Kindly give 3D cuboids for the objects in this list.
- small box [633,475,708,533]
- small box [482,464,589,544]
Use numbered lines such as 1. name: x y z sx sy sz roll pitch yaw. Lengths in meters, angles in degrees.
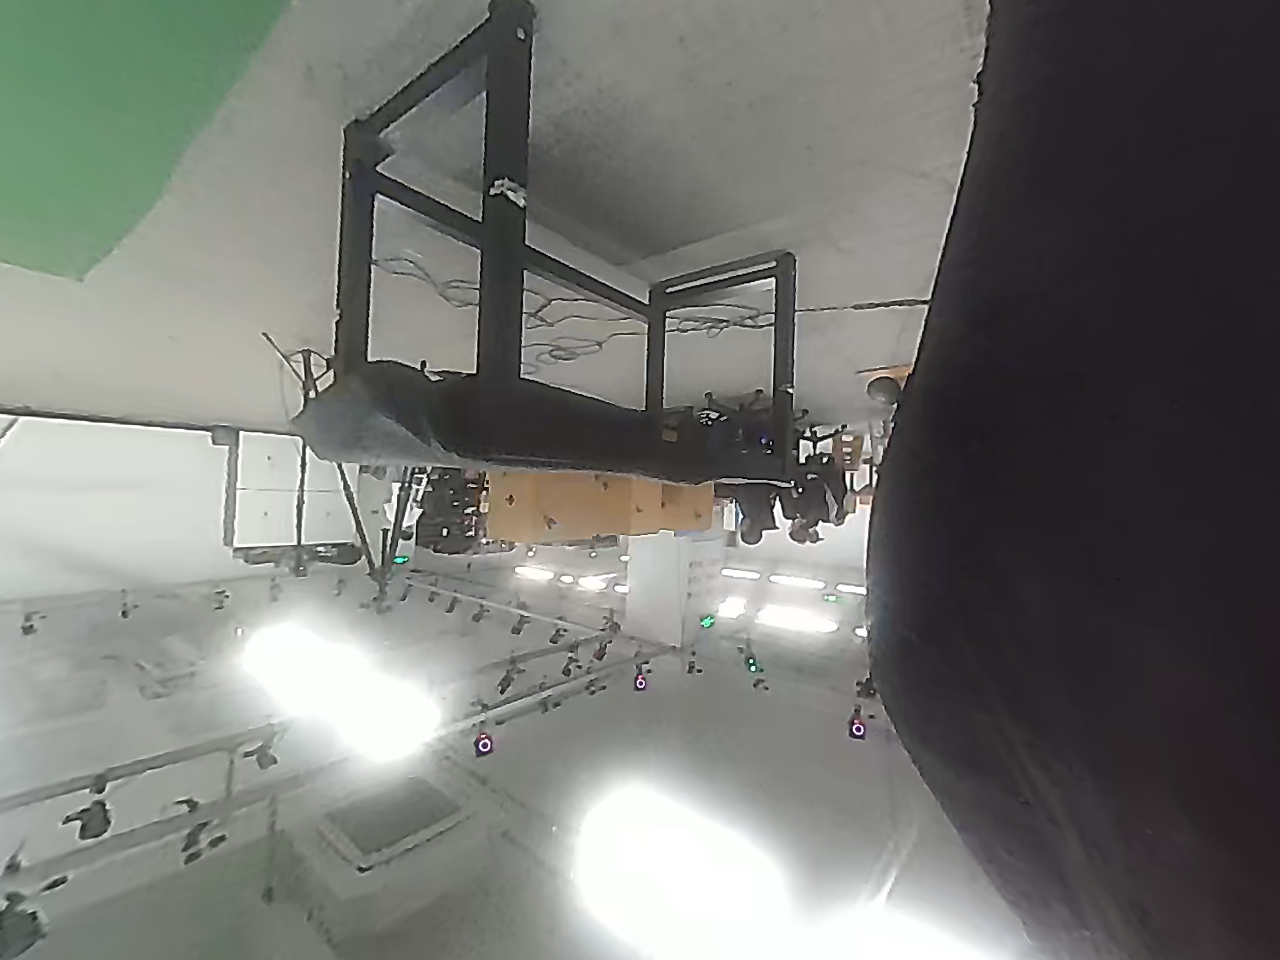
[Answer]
1. small box: 0.095 0.072 1.663 0.168 0.176 0.179 0 178 43
2. small box: -0.233 0.051 1.219 0.168 0.176 0.179 2 179 40
